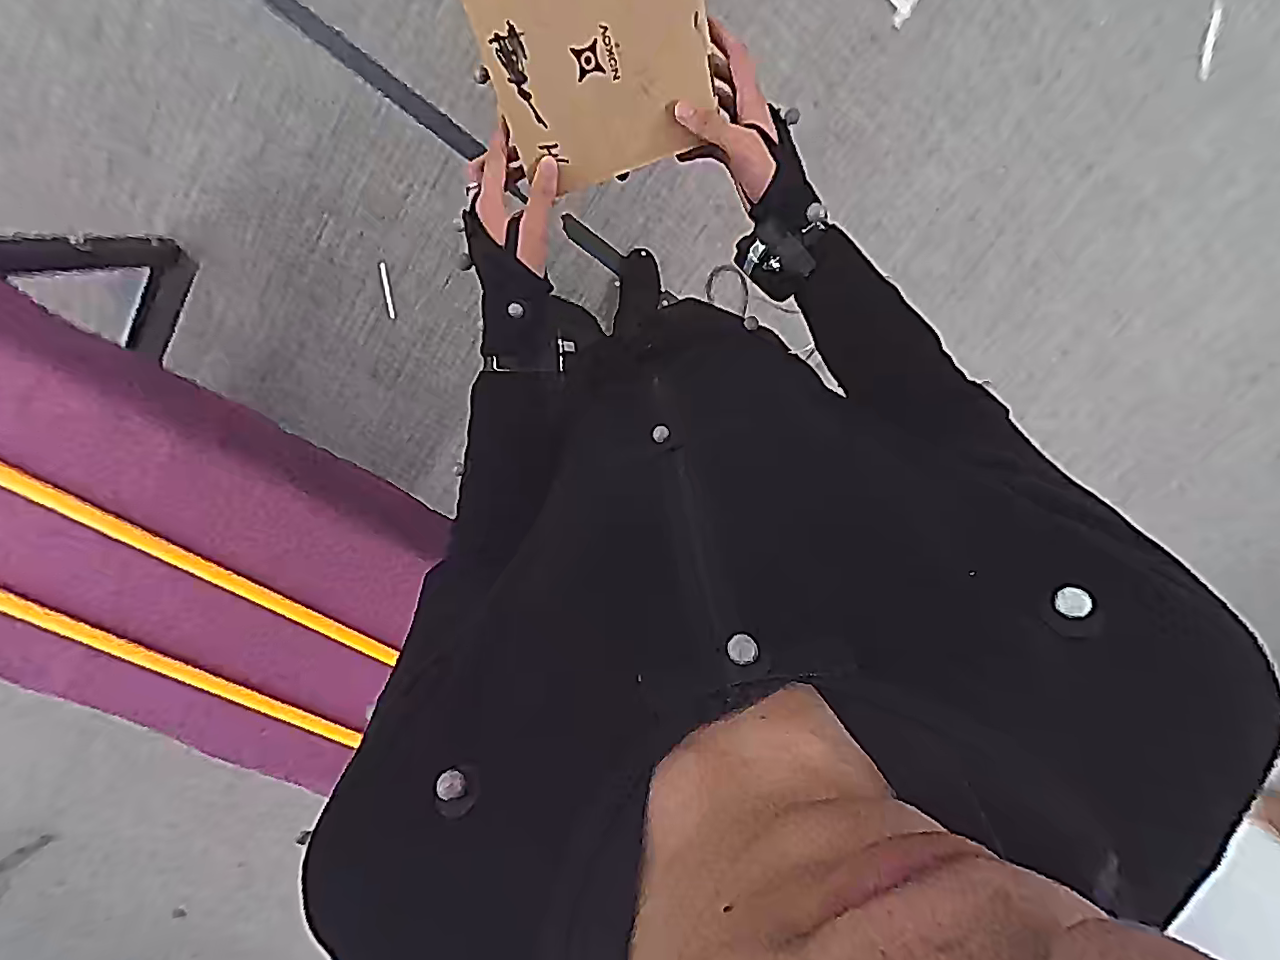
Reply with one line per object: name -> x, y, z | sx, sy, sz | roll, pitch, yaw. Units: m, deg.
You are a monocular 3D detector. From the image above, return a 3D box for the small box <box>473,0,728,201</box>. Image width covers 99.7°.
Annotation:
small box -> -0.035, -0.377, 0.491 | 0.179, 0.176, 0.168 | -16, 125, 4
